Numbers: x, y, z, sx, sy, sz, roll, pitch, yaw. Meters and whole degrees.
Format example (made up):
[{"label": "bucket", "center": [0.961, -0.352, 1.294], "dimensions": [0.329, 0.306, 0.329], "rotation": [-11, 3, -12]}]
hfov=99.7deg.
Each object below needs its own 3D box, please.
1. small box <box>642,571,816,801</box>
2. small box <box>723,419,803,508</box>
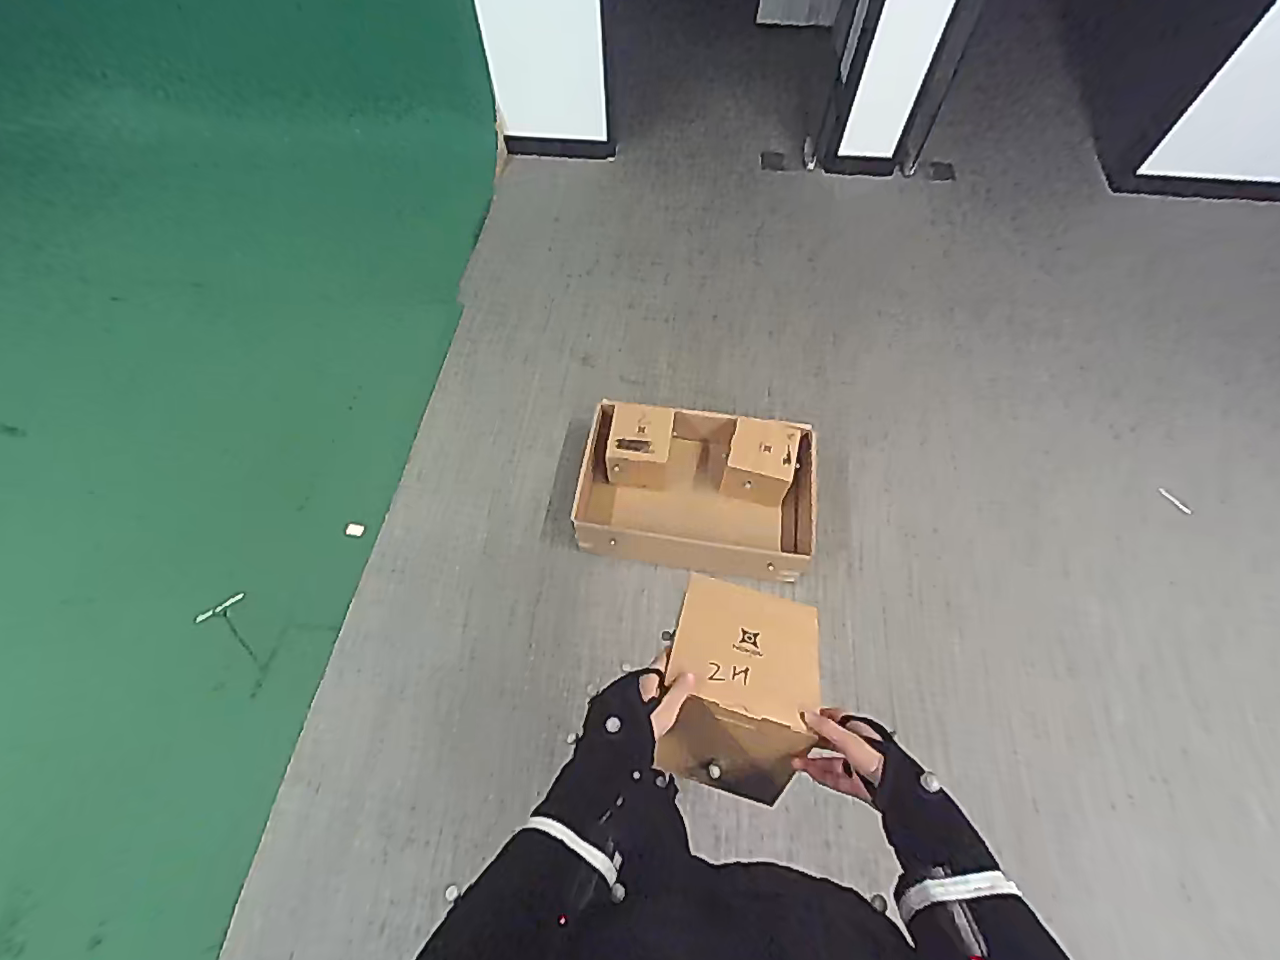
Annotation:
[{"label": "small box", "center": [0.107, 0.249, 0.664], "dimensions": [0.168, 0.176, 0.179], "rotation": [15, 38, 8]}, {"label": "small box", "center": [0.334, -0.041, 1.495], "dimensions": [0.179, 0.176, 0.168], "rotation": [14, 64, 10]}]
